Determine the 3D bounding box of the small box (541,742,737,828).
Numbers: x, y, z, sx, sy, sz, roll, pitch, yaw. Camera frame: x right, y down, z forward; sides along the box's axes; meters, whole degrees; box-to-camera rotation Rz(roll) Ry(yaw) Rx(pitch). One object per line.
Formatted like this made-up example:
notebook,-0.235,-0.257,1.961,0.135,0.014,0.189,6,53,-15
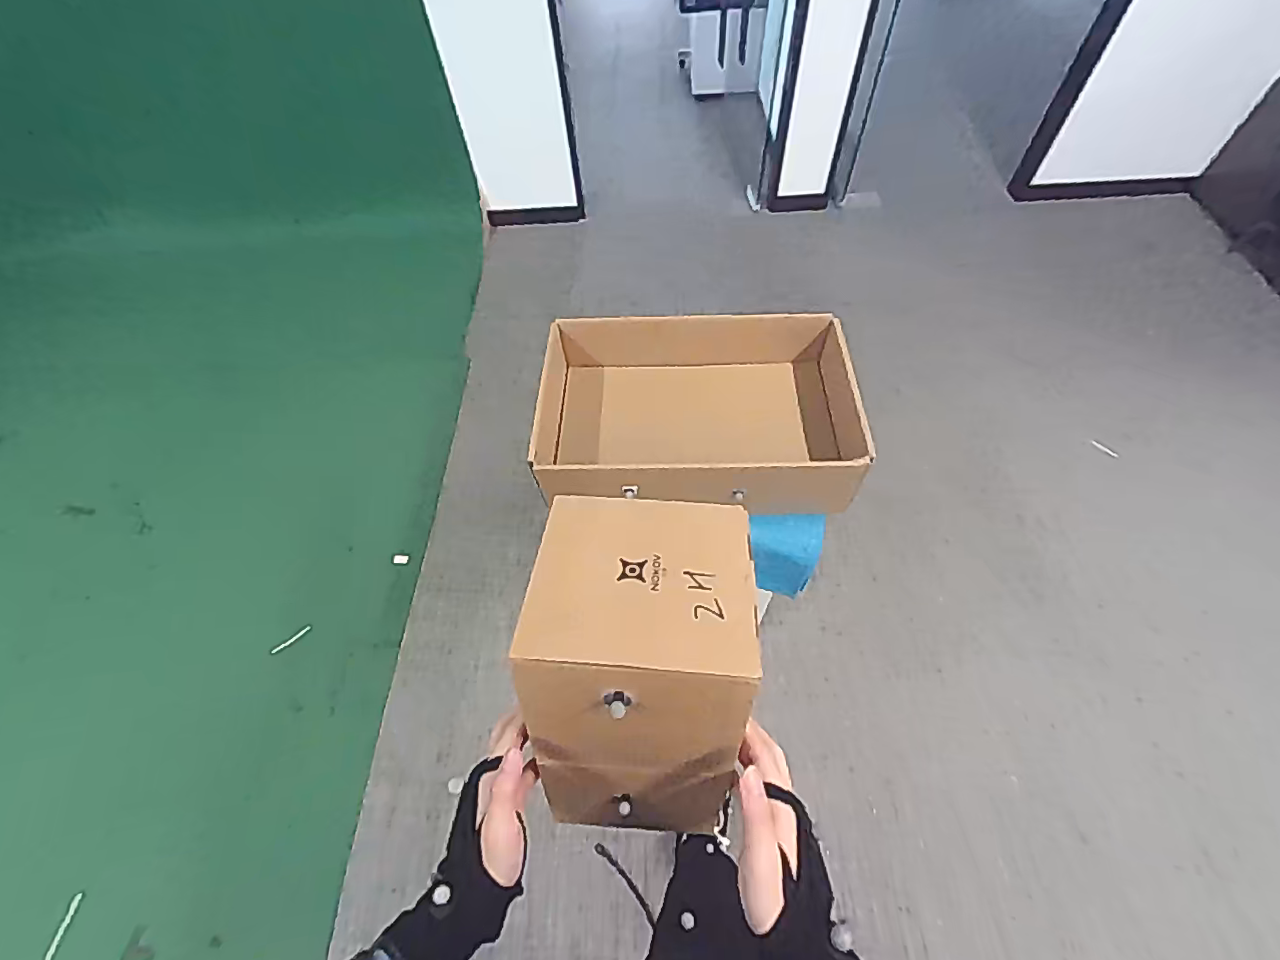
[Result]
small box,0.002,0.256,0.587,0.179,0.176,0.168,3,41,2

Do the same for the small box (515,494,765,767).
small box,0.005,0.132,0.479,0.179,0.176,0.168,5,41,3
